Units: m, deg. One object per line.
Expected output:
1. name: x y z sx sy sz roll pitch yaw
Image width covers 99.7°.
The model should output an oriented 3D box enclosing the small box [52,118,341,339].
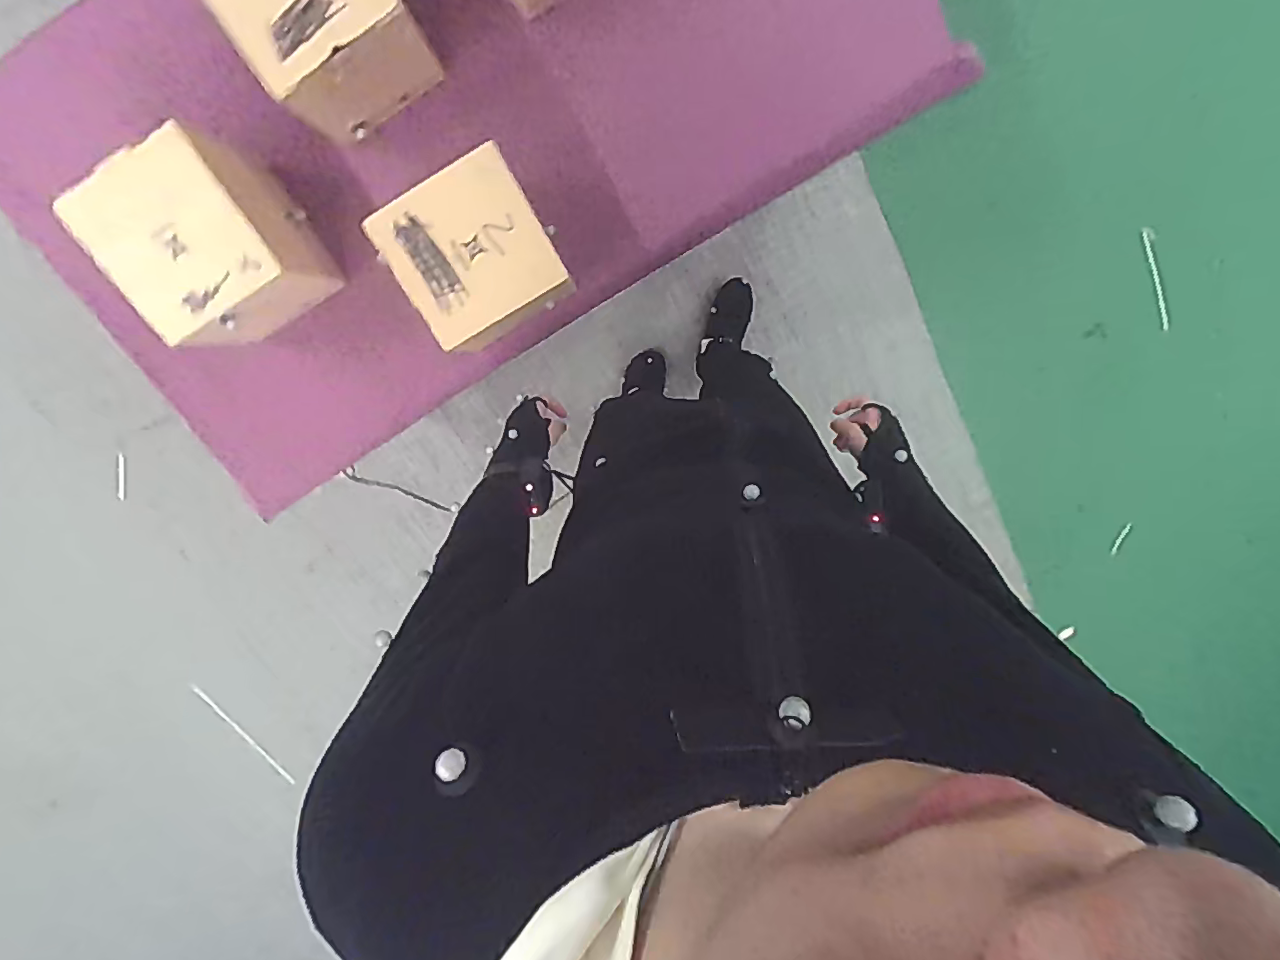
1. small box: -0.522 -0.290 0.668 0.168 0.176 0.179 -30 105 6

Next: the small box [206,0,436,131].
1. small box: -0.364 -0.534 0.613 0.168 0.176 0.179 -32 105 5

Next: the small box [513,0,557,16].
1. small box: -0.120 -0.679 0.591 0.168 0.176 0.179 -32 107 6
